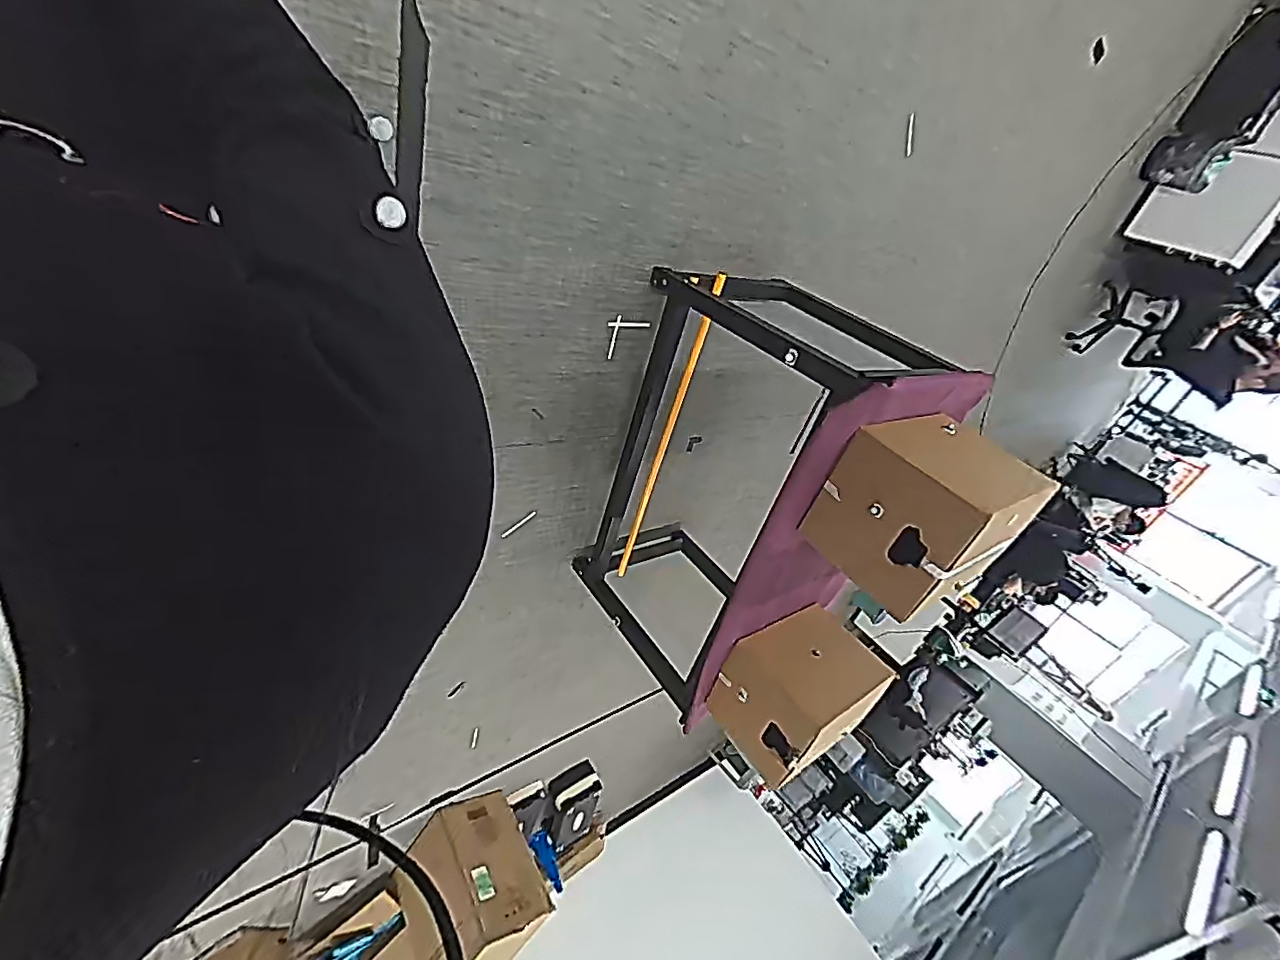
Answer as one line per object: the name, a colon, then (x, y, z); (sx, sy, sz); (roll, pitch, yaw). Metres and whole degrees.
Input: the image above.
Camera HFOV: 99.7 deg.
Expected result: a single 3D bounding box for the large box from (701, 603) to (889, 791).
large box: (0.457, 0.633, 1.639); (0.408, 0.320, 0.320); (-11, 133, -38)
